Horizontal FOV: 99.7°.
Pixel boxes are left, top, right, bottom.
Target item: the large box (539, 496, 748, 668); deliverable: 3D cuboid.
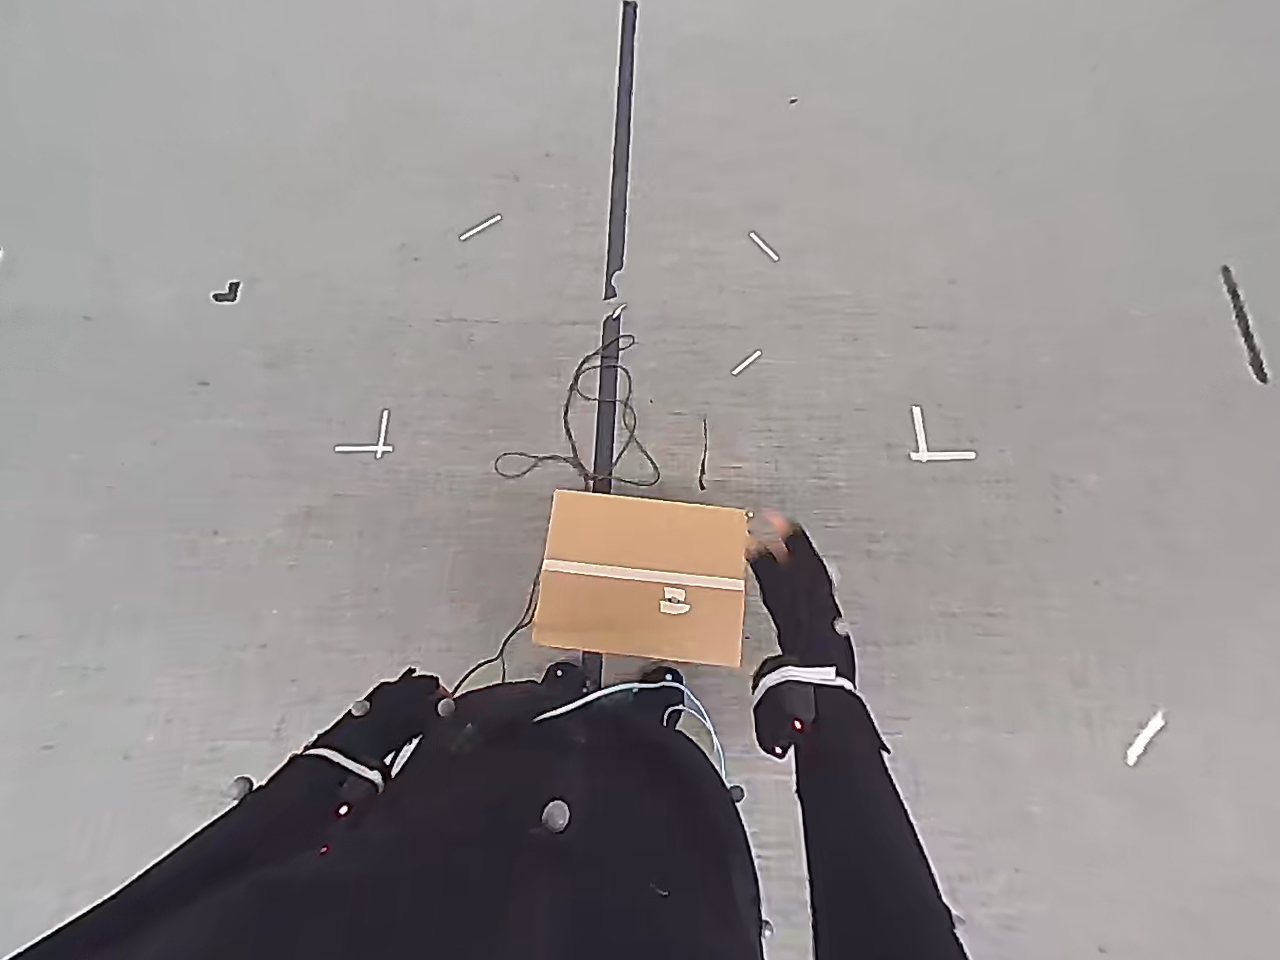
[{"bbox_3d":[0.009,0.240,1.232,0.408,0.320,0.320,7,75,1],"label":"large box"}]
